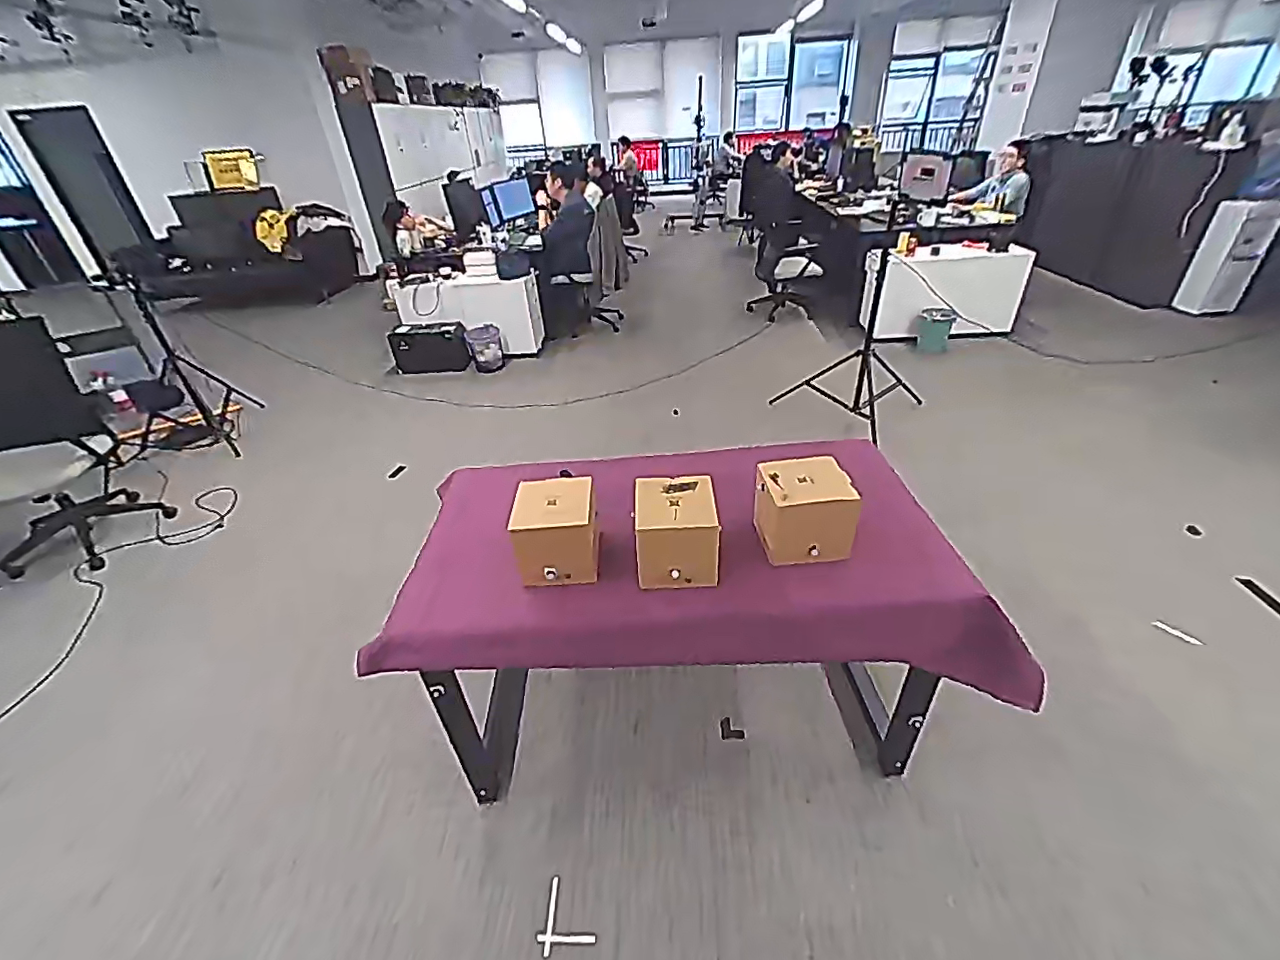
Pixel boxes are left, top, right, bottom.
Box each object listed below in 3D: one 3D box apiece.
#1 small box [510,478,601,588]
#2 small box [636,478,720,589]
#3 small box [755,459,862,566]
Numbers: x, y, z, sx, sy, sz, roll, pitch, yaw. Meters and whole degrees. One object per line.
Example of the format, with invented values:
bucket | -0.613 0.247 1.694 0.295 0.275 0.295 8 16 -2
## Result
small box | -0.178 0.115 1.193 0.168 0.176 0.179 -5 34 1
small box | 0.080 0.114 1.164 0.168 0.176 0.179 -3 34 3
small box | 0.363 0.072 1.197 0.179 0.176 0.168 -5 33 -1
